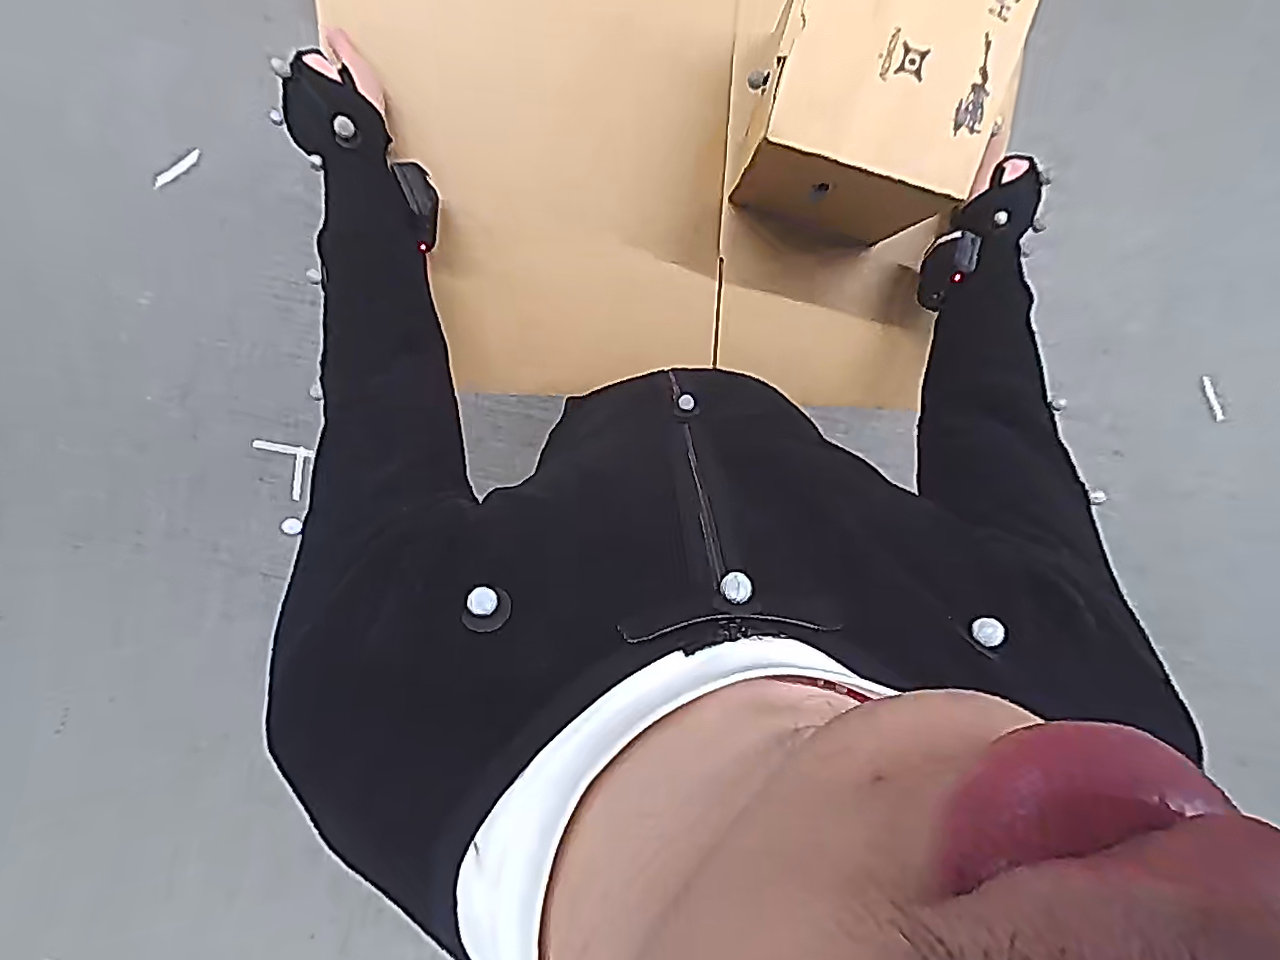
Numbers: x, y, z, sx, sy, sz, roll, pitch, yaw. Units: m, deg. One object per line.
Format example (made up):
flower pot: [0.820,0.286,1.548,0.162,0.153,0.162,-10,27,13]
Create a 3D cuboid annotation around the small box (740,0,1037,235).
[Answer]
small box: [0.205,-0.347,0.501,0.179,0.176,0.168,15,102,-3]
